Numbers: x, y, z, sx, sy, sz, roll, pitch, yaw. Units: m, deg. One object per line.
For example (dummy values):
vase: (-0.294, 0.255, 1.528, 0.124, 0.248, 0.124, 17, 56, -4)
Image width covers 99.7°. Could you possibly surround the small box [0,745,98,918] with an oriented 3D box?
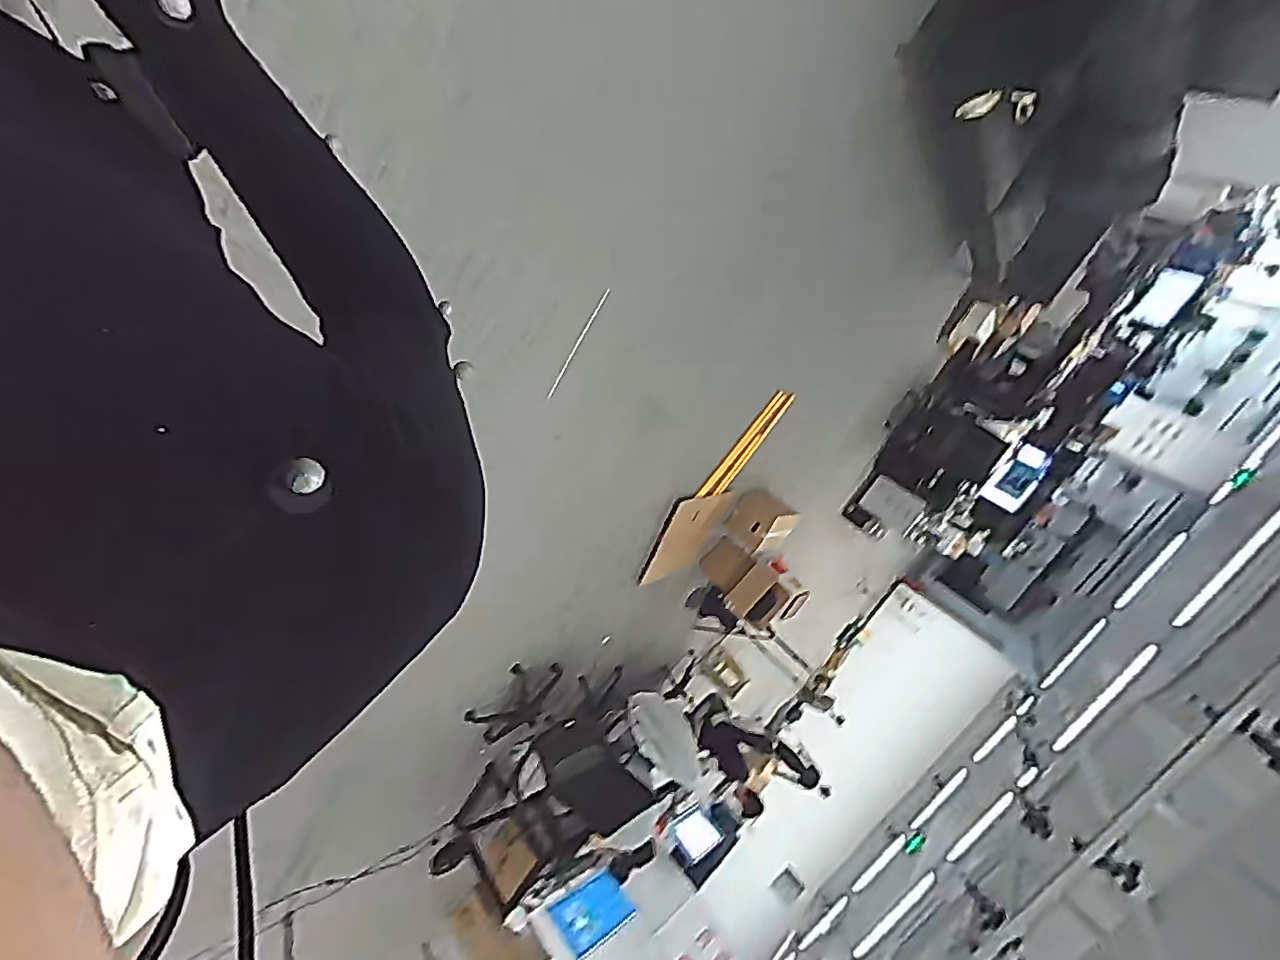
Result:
small box: (-0.973, 0.541, 0.824, 0.179, 0.176, 0.168, 9, 116, -53)
